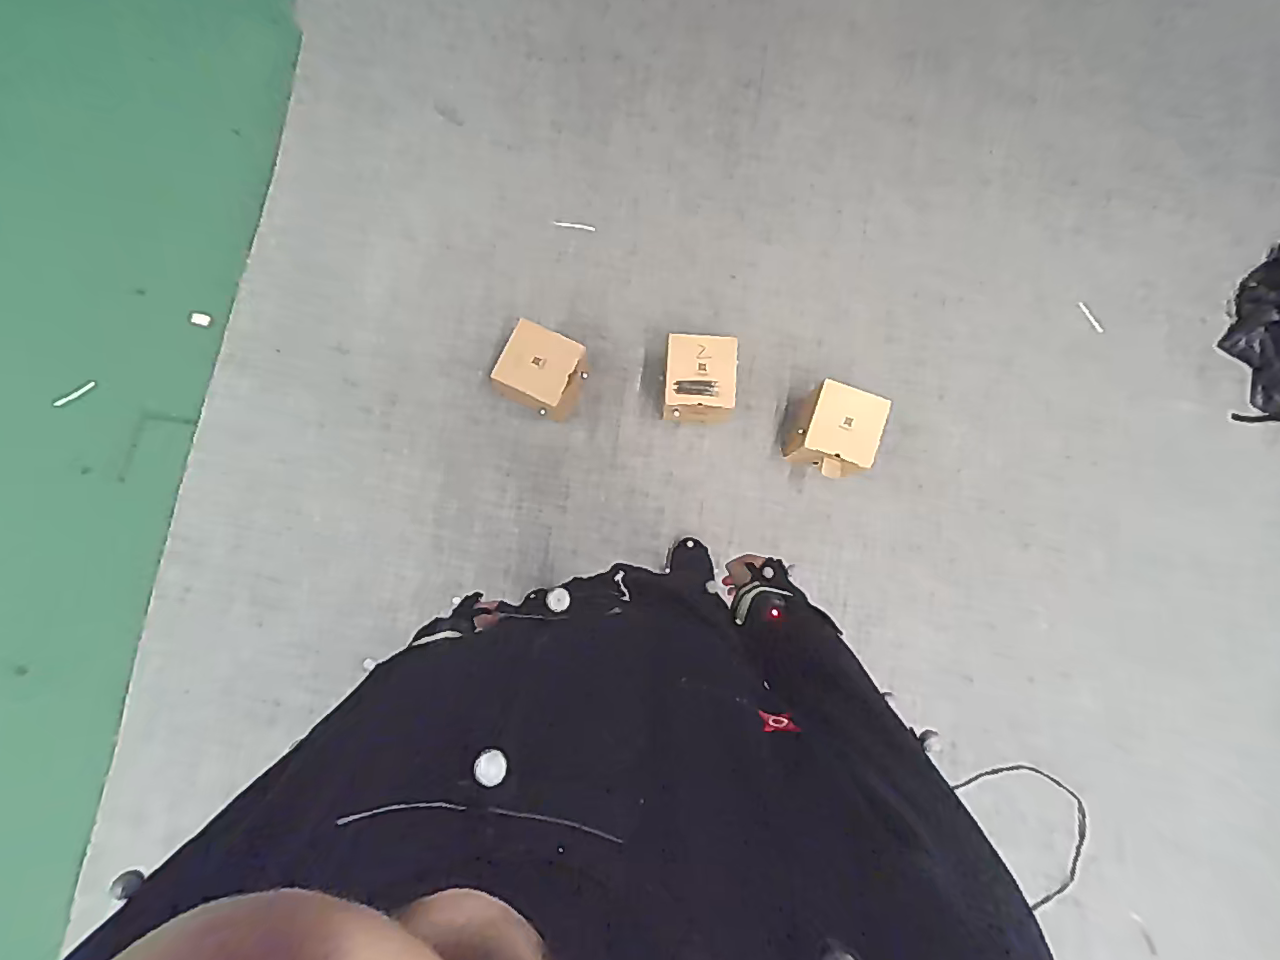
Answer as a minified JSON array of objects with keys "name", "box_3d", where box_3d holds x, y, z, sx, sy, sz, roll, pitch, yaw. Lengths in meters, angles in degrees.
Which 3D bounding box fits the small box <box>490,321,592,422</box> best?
[{"name":"small box","box_3d":[-0.232,-0.257,1.332,0.179,0.176,0.168,23,83,7]}]

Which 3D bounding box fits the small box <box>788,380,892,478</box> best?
[{"name":"small box","box_3d":[0.480,-0.117,1.322,0.168,0.176,0.179,19,83,2]}]
